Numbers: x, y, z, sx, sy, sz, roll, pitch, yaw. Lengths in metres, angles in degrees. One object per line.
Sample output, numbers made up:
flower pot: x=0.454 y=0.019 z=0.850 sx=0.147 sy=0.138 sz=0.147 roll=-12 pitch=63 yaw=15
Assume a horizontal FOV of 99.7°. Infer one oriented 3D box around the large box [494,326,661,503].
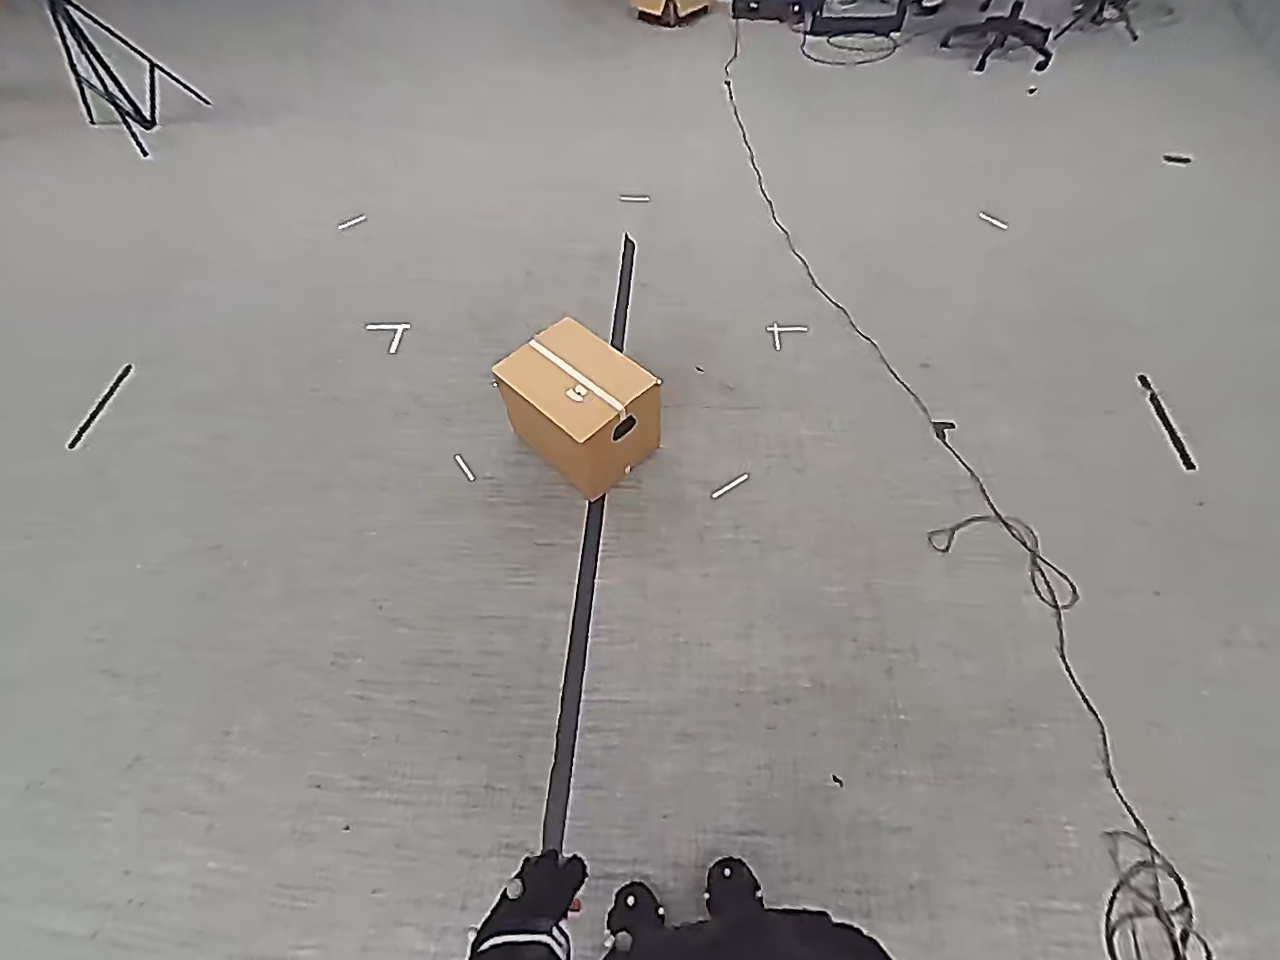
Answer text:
large box: x=-0.186 y=-0.207 z=1.705 sx=0.408 sy=0.320 sz=0.320 roll=39 pitch=66 yaw=23
